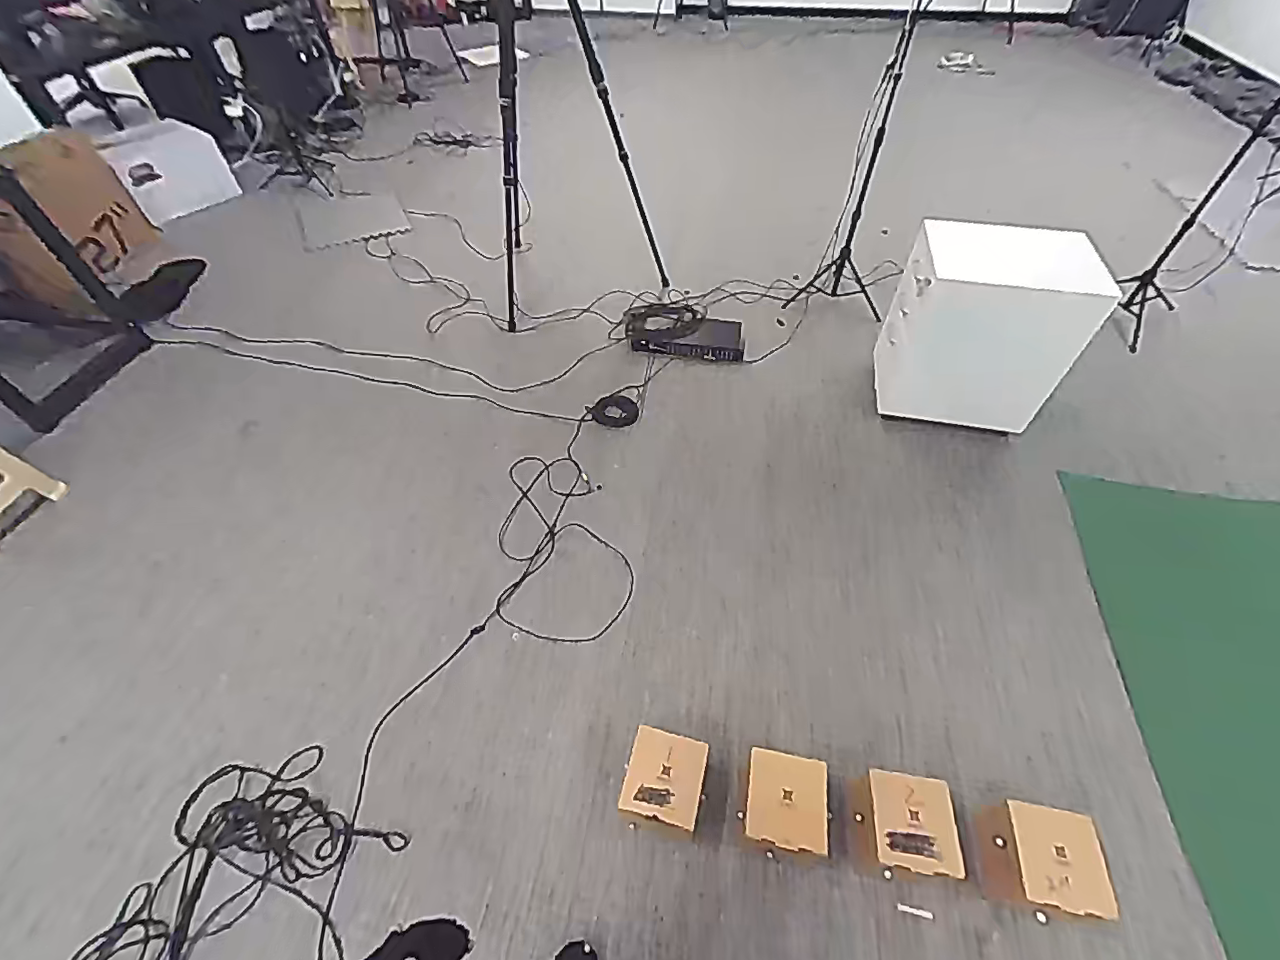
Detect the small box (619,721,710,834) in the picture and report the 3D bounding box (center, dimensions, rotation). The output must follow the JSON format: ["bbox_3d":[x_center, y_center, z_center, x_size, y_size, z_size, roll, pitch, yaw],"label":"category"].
[{"bbox_3d":[0.060,0.690,1.247,0.168,0.176,0.179,12,51,11],"label":"small box"}]

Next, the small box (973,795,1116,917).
[{"bbox_3d":[0.837,0.797,1.144,0.168,0.176,0.179,8,52,9],"label":"small box"}]

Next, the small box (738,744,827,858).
[{"bbox_3d":[0.317,0.723,1.216,0.168,0.176,0.179,8,51,8],"label":"small box"}]
